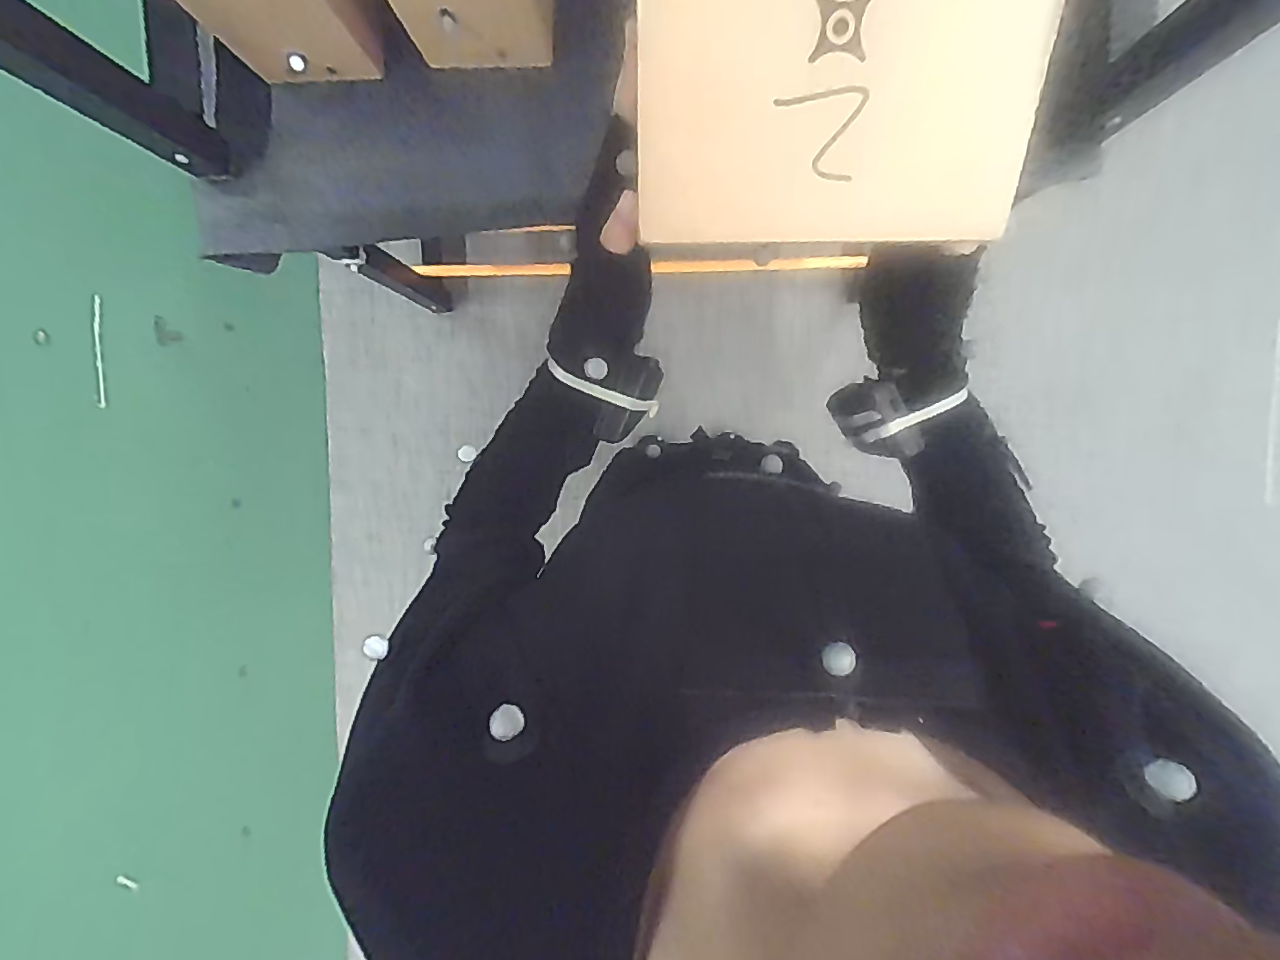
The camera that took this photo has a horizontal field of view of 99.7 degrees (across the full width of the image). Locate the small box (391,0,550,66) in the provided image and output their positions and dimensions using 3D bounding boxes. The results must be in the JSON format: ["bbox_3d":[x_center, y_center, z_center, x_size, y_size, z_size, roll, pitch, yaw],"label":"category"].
[{"bbox_3d":[-0.203,-0.631,0.641,0.168,0.176,0.179,1,94,2],"label":"small box"}]

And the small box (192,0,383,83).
[{"bbox_3d":[-0.430,-0.622,0.649,0.168,0.176,0.179,0,94,2],"label":"small box"}]
